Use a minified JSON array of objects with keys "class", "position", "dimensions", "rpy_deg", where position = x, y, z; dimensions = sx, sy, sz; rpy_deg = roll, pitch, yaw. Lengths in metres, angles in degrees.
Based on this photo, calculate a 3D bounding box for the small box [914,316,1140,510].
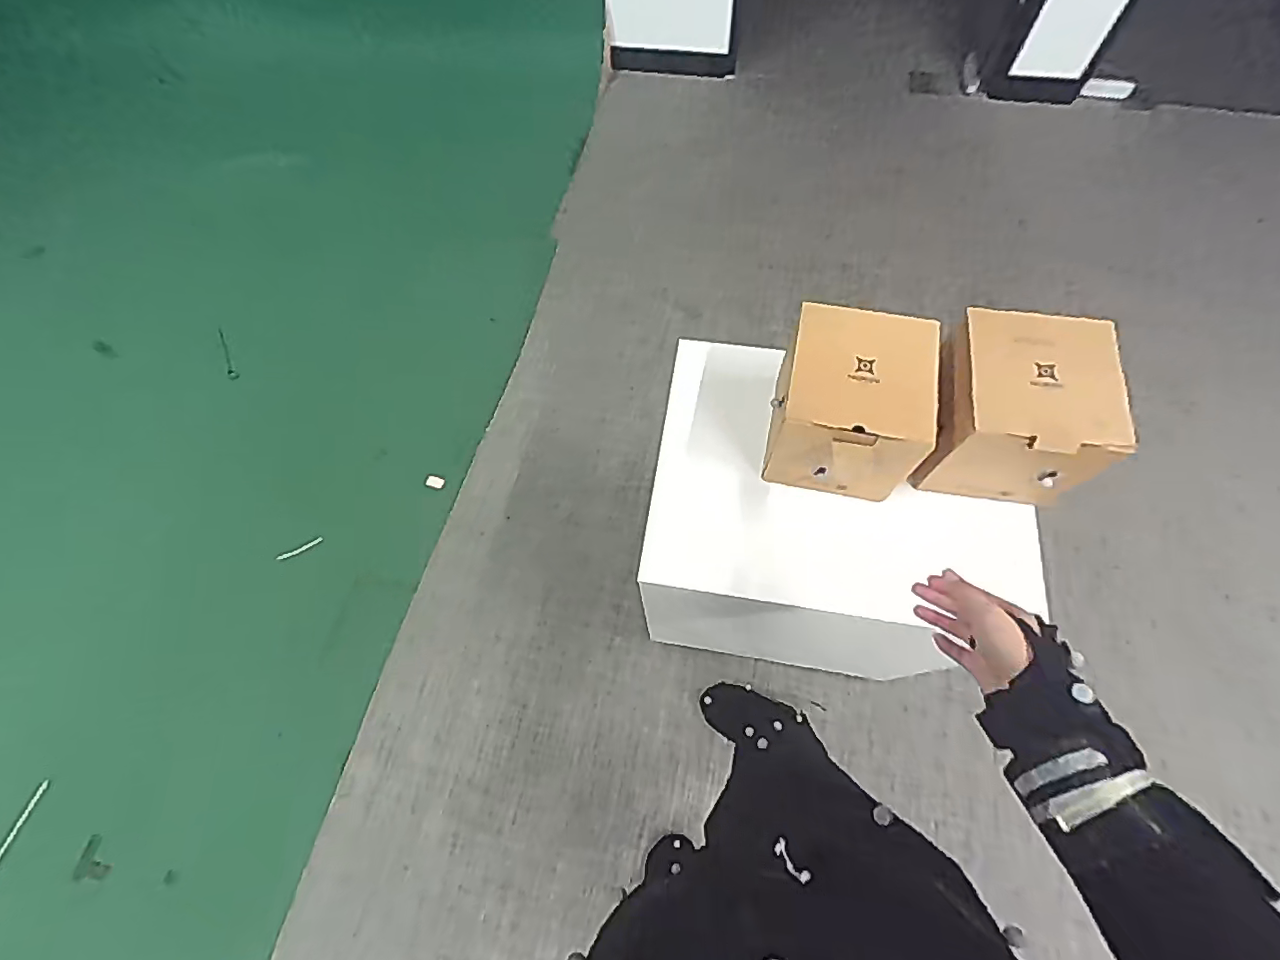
[{"class":"small box","position":[0.464,-0.076,0.681],"dimensions":[0.168,0.176,0.179],"rpy_deg":[8,66,6]}]
